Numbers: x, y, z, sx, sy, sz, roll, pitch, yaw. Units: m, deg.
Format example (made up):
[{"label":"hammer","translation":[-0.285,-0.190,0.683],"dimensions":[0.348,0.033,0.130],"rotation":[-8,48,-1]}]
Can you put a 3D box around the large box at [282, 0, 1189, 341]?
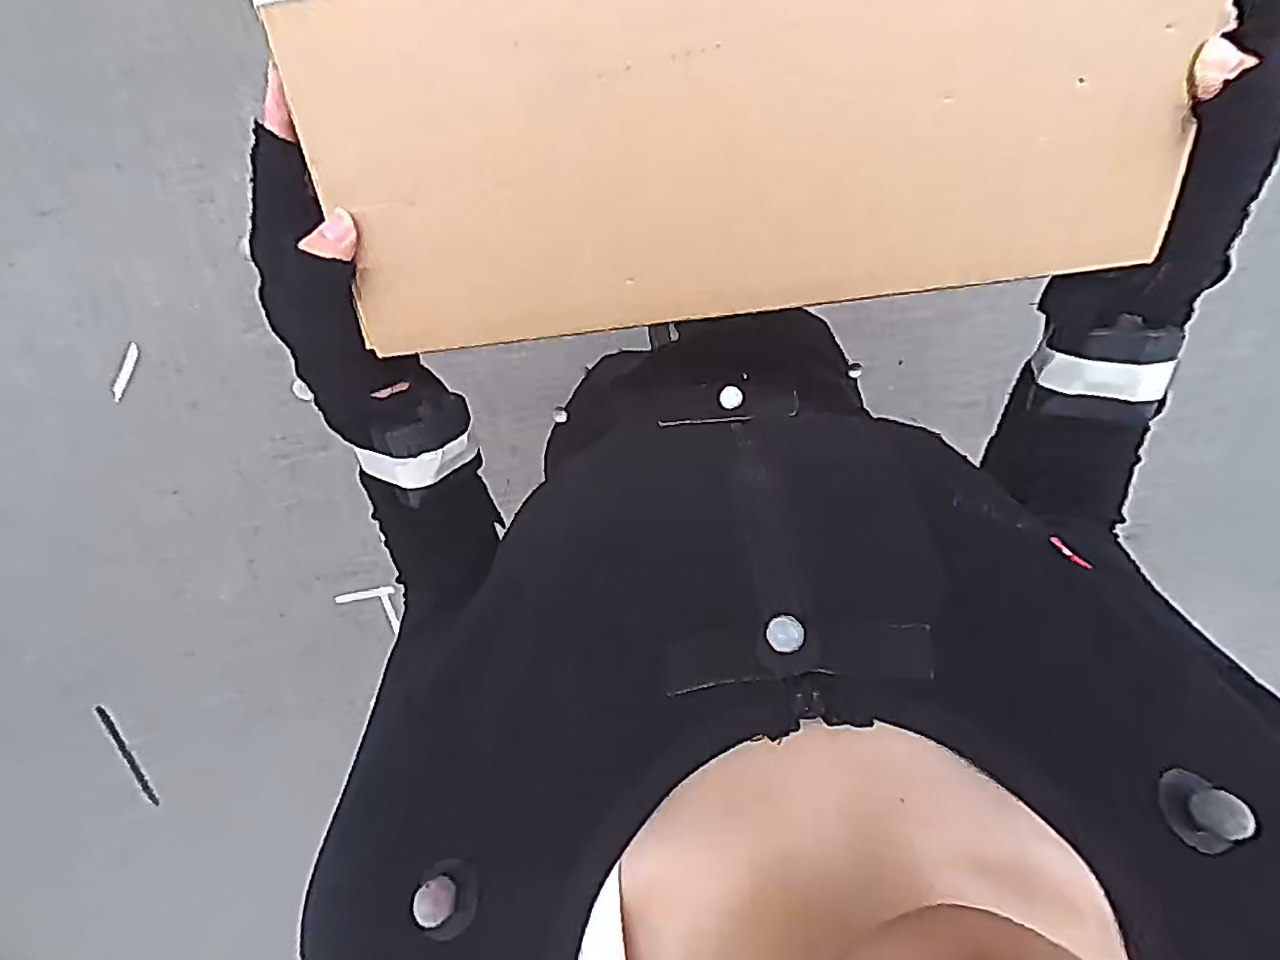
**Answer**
[{"label":"large box","translation":[0.035,-0.301,0.359],"dimensions":[0.408,0.320,0.320],"rotation":[-7,116,2]}]
